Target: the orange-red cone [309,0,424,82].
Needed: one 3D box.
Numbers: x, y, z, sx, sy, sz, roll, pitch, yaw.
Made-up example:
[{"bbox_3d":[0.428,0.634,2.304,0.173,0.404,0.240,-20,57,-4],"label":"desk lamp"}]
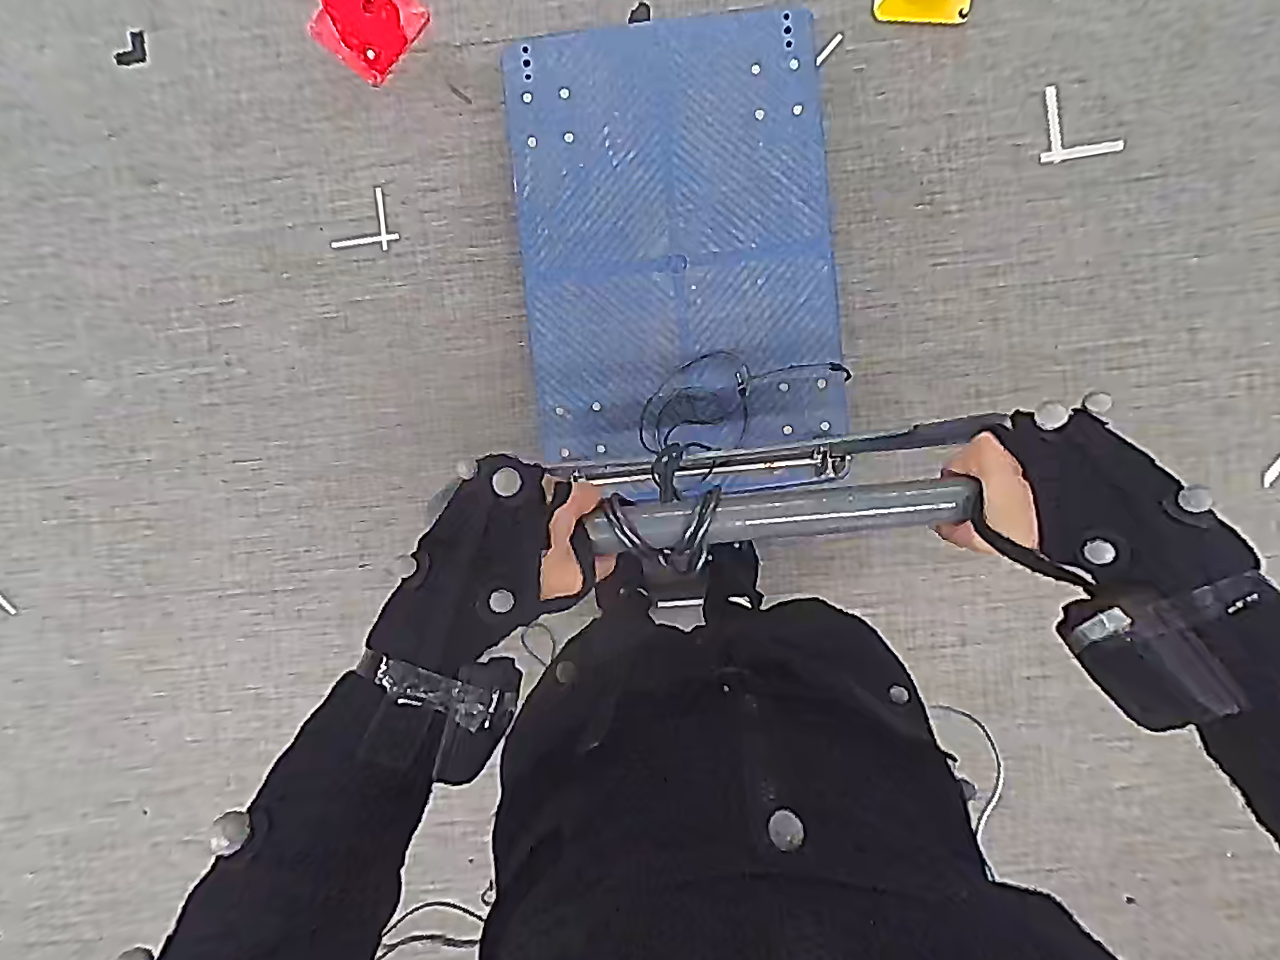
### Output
[{"bbox_3d":[-0.592,-0.986,0.999,0.198,0.360,0.199,40,91,-1],"label":"orange-red cone"}]
